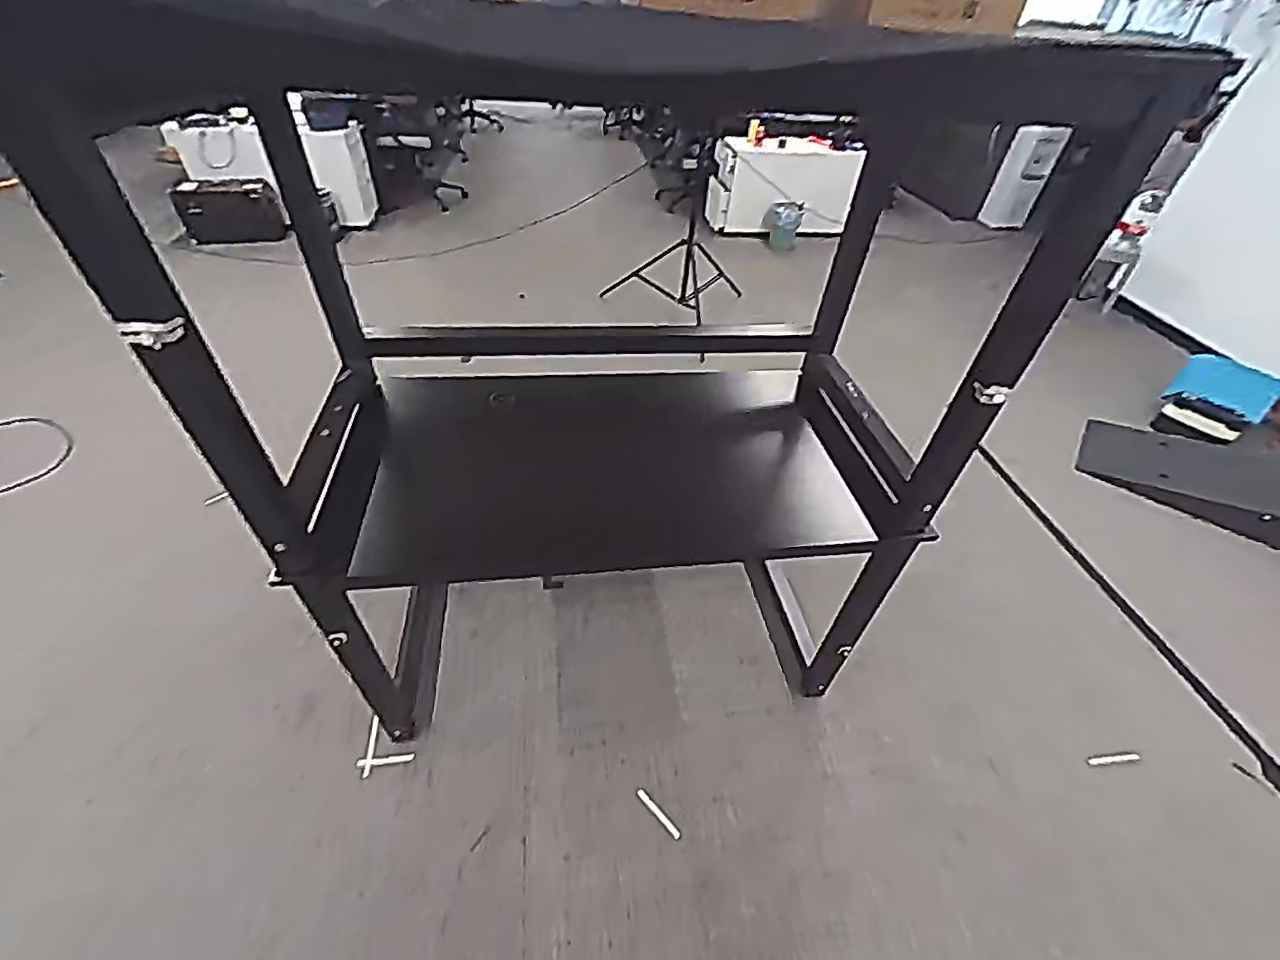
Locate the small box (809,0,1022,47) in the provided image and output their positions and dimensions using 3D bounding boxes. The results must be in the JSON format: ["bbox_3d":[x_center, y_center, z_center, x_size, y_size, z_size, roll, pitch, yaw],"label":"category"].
[{"bbox_3d":[0.292,-0.563,0.553,0.168,0.176,0.179,-3,43,-6],"label":"small box"}]
